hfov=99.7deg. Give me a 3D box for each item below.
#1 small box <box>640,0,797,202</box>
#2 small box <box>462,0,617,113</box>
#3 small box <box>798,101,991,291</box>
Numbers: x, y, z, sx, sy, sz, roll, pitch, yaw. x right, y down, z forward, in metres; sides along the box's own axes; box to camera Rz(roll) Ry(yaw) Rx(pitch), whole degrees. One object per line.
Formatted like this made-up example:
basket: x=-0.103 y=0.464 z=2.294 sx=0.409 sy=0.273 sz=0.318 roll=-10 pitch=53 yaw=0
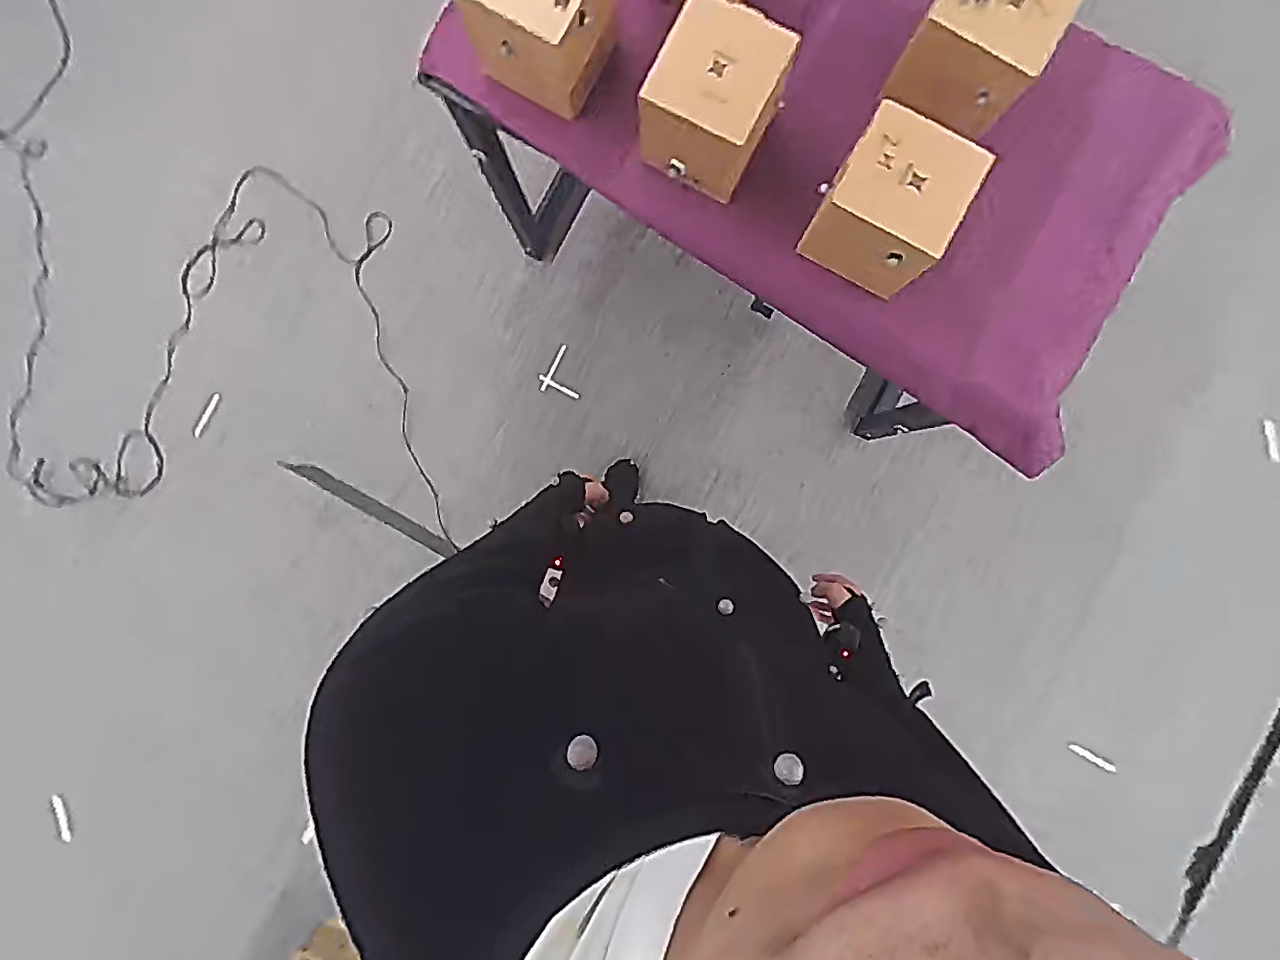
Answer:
small box: x=0.110 y=-0.578 z=0.834 sx=0.168 sy=0.176 sz=0.179 roll=28 pitch=92 yaw=1
small box: x=-0.150 y=-0.719 z=0.834 sx=0.179 sy=0.176 sz=0.168 roll=29 pitch=91 yaw=1
small box: x=0.373 y=-0.415 z=0.827 sx=0.179 sy=0.176 sz=0.168 roll=29 pitch=90 yaw=1
